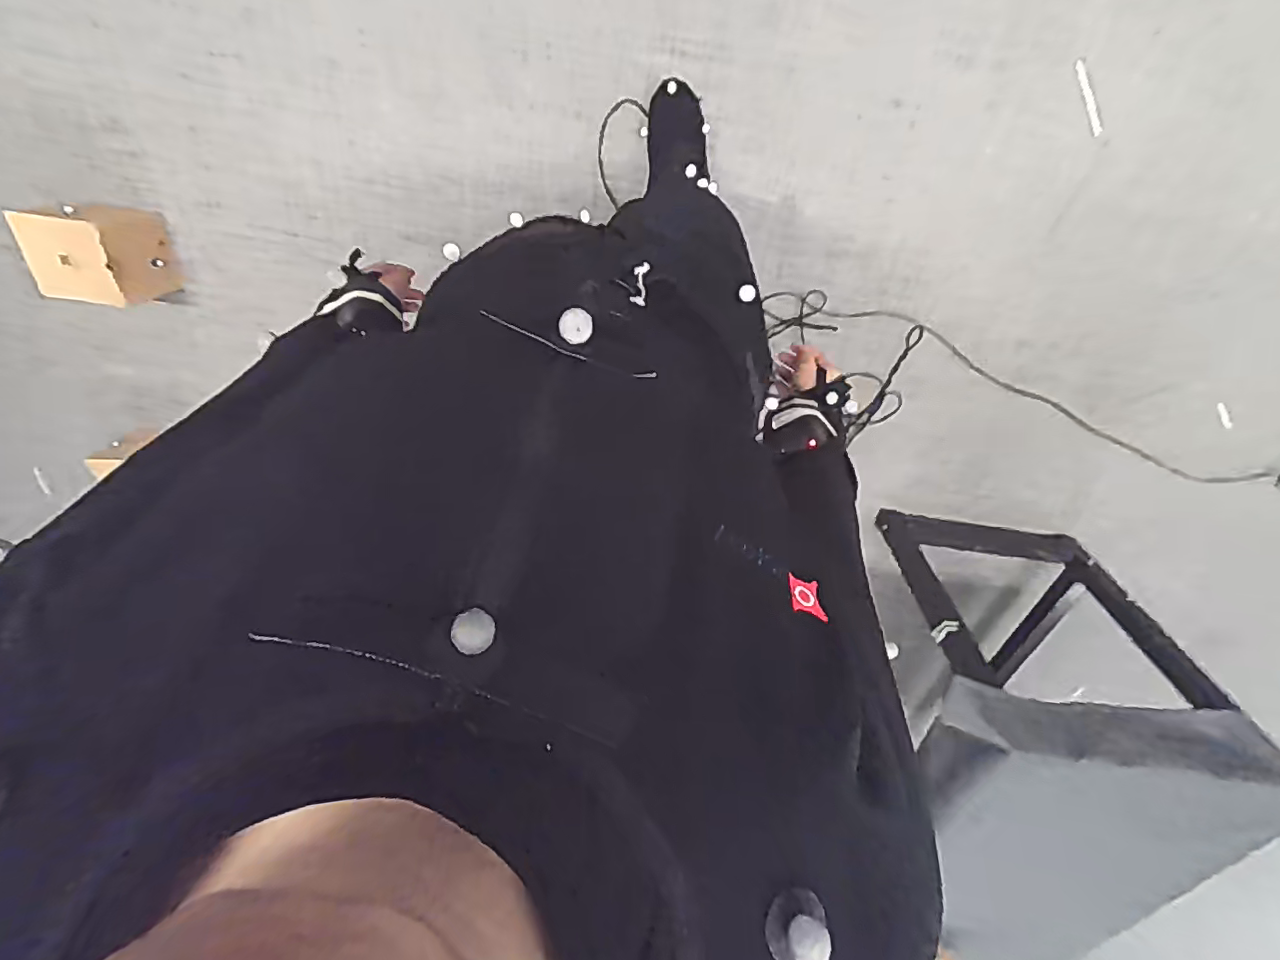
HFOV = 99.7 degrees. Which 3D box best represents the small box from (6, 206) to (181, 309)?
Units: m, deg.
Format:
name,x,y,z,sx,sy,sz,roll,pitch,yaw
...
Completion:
name,x,y,z,sx,sy,sz,roll,pitch,yaw
small box,-1.153,-0.482,1.160,0.179,0.176,0.168,7,123,-3
